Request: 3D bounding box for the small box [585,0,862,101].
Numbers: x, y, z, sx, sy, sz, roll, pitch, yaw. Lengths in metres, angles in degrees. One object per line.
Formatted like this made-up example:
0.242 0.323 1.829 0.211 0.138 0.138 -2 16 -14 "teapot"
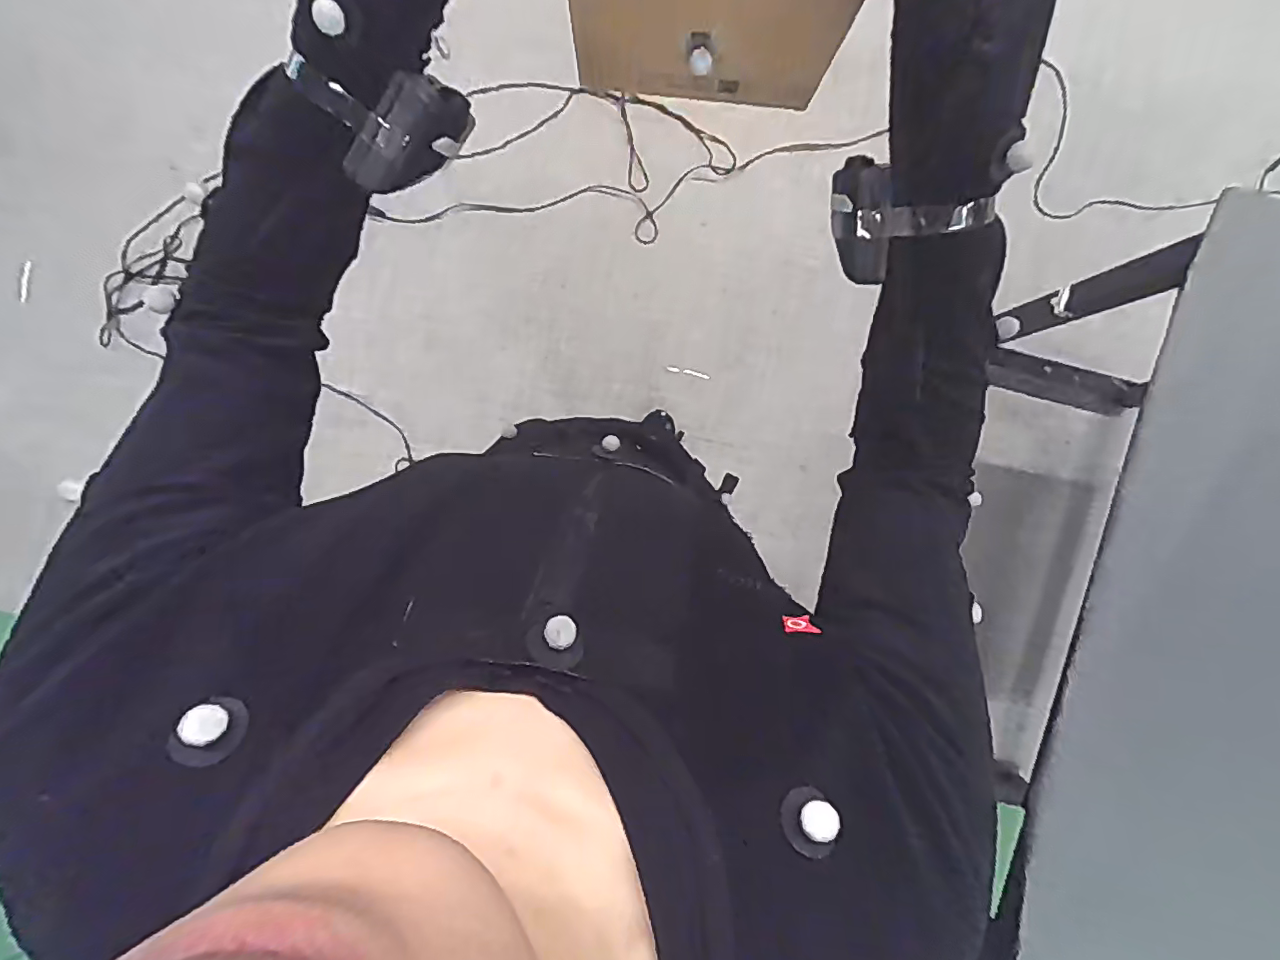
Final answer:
0.053 -0.360 0.301 0.168 0.176 0.179 5 94 -1 "small box"
